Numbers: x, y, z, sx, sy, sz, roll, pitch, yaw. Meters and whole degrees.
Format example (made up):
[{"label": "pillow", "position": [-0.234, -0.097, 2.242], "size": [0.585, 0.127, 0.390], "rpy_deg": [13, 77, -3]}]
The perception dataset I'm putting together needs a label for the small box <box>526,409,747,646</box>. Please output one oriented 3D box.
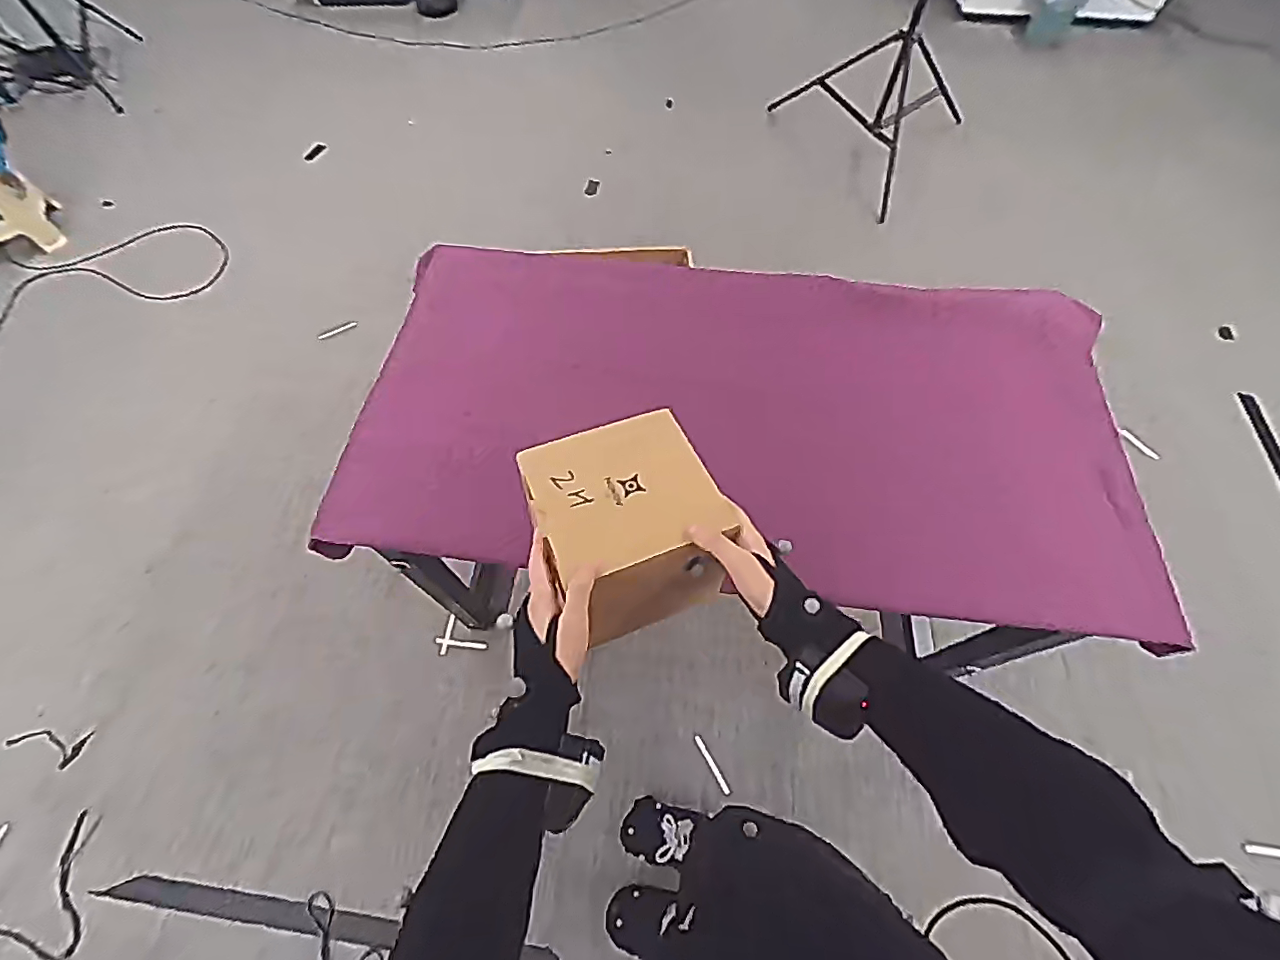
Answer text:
[{"label": "small box", "position": [-0.010, 0.054, 0.592], "size": [0.179, 0.176, 0.168], "rpy_deg": [-18, 56, -14]}]
